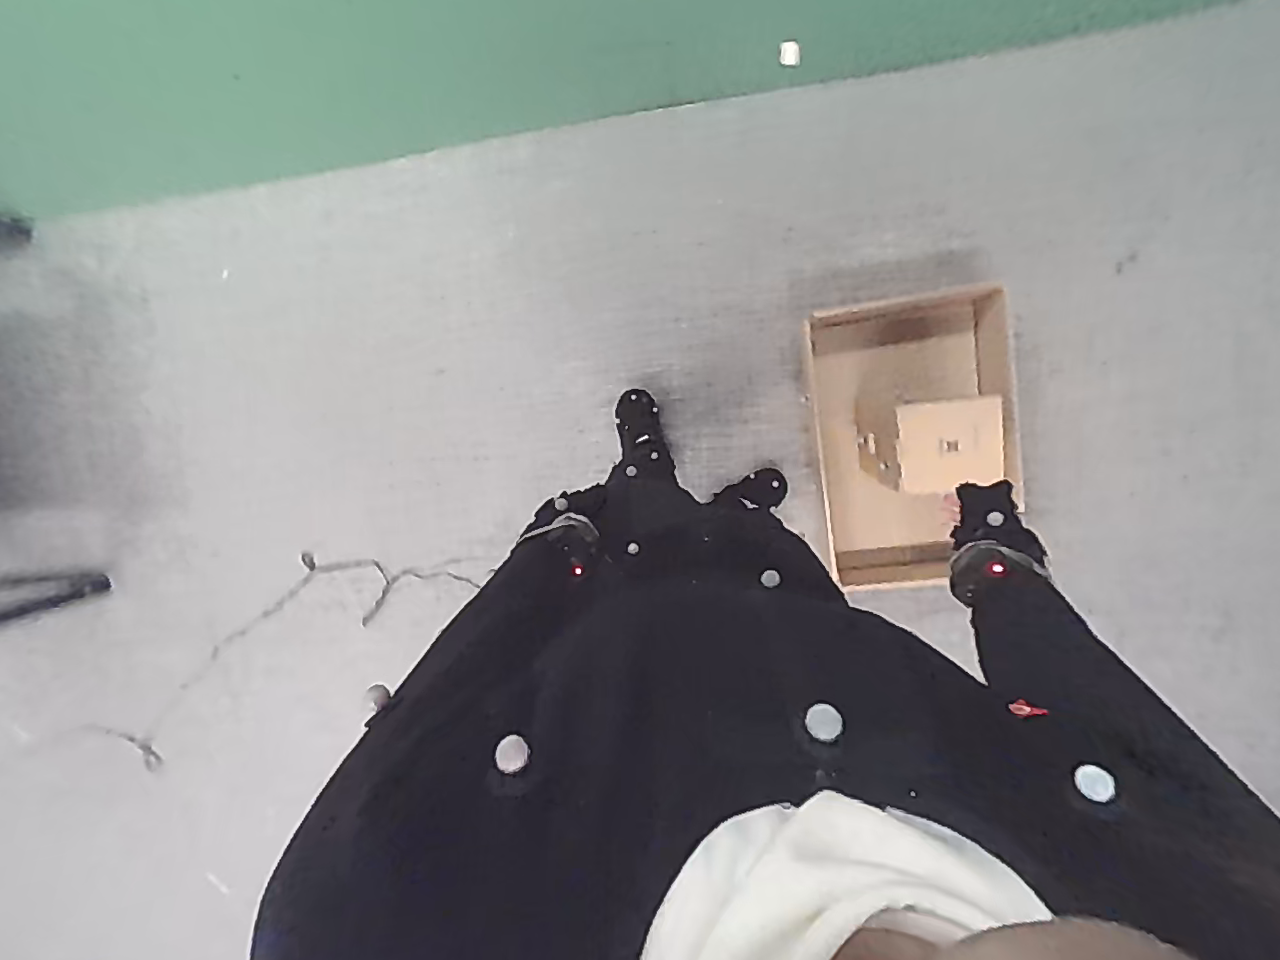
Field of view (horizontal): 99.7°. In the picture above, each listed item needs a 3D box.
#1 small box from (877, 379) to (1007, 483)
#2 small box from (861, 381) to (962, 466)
[{"bbox_3d":[0.565,-0.096,1.035,0.179,0.176,0.168,-8,98,12],"label":"small box"},{"bbox_3d":[0.600,-0.128,1.207,0.179,0.176,0.168,-6,98,11],"label":"small box"}]
